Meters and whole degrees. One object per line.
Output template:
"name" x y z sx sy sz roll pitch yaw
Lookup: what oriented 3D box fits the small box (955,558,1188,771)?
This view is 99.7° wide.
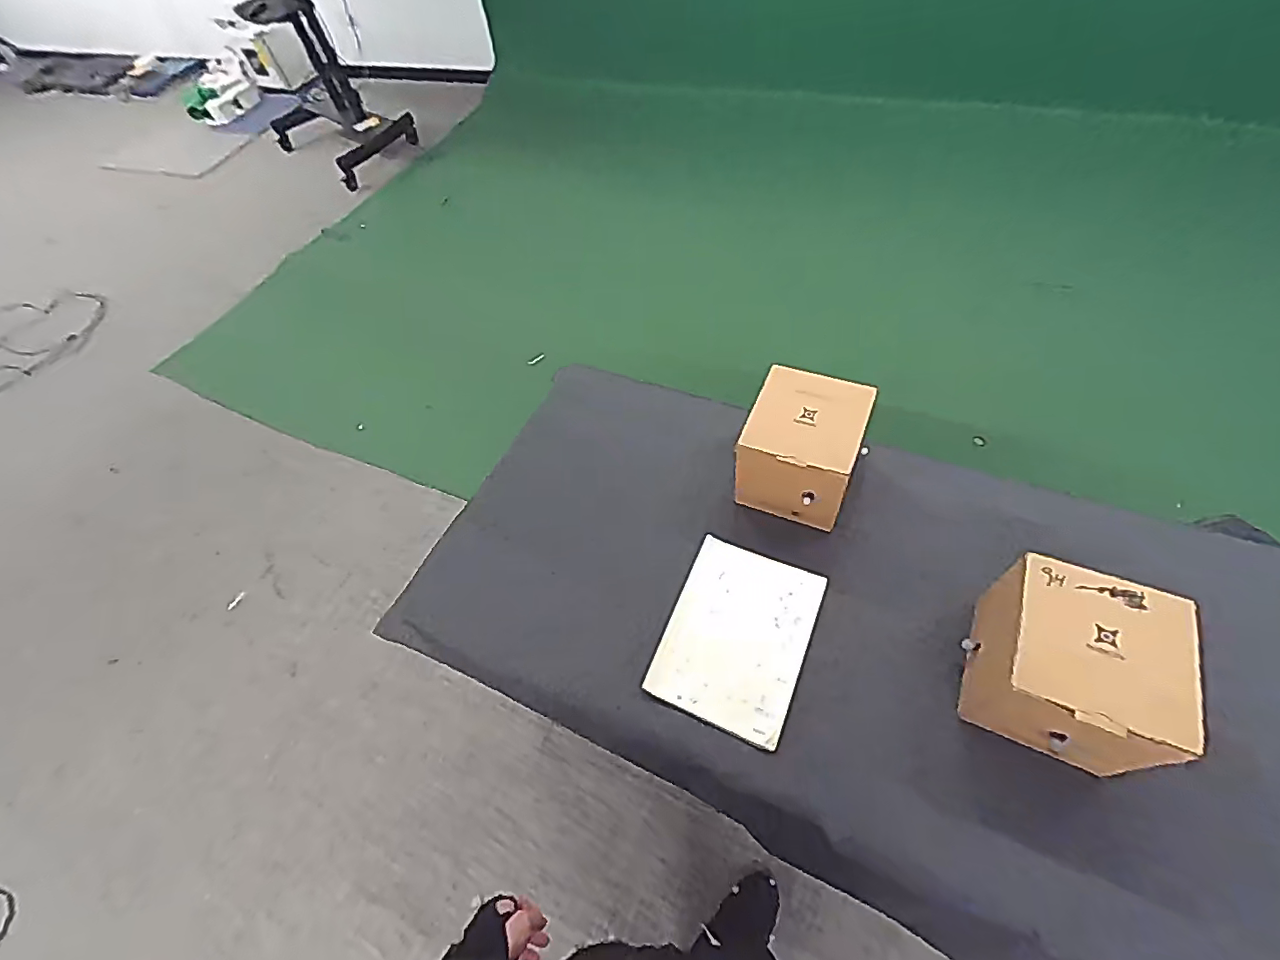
"small box" 0.509 0.229 0.659 0.168 0.176 0.179 19 62 19

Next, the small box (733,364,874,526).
"small box" 0.254 -0.052 0.867 0.168 0.176 0.179 18 60 18
